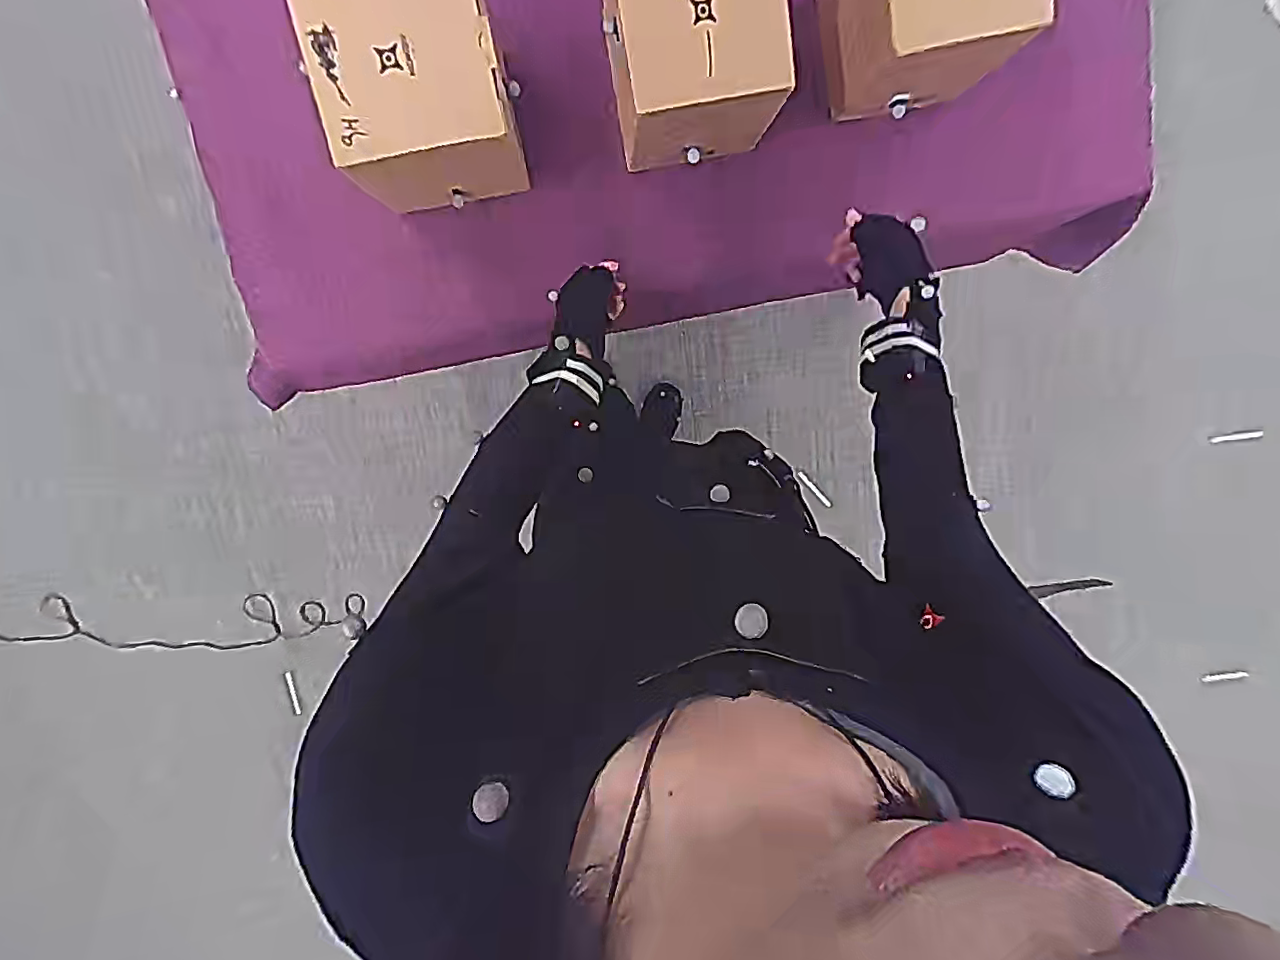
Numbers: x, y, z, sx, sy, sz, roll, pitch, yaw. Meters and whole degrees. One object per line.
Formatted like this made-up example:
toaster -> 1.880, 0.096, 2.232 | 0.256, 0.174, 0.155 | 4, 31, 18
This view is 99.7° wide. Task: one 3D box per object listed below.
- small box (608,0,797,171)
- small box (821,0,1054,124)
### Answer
small box -> 0.059, -0.478, 0.601 | 0.168, 0.176, 0.179 | -11, 102, -1
small box -> 0.317, -0.543, 0.606 | 0.168, 0.176, 0.179 | -12, 102, 0
